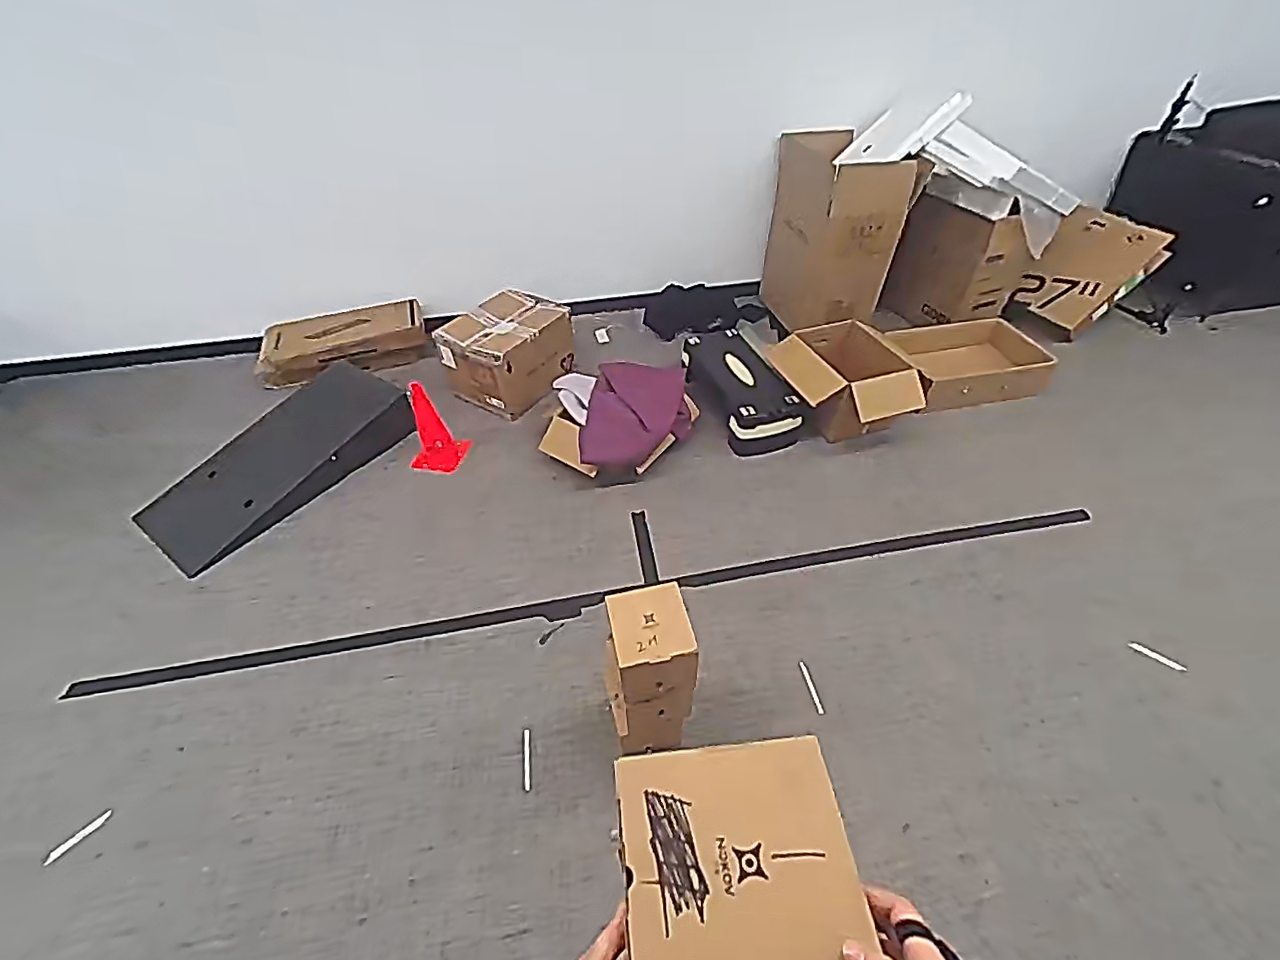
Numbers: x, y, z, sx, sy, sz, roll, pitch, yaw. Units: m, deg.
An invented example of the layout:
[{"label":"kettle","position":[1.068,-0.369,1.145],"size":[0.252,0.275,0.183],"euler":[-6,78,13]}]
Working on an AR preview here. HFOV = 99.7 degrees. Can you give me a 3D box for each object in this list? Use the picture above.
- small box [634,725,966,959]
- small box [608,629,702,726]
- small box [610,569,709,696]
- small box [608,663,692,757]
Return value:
[{"label":"small box","position":[0.092,0.296,0.385],"size":[0.179,0.176,0.168],"euler":[-5,48,-4]},{"label":"small box","position":[0.034,0.435,1.229],"size":[0.168,0.176,0.179],"euler":[-14,47,-11]},{"label":"small box","position":[0.036,0.314,1.115],"size":[0.168,0.176,0.179],"euler":[-11,46,-7]},{"label":"small box","position":[0.021,0.554,1.343],"size":[0.168,0.176,0.179],"euler":[-14,47,-10]}]
